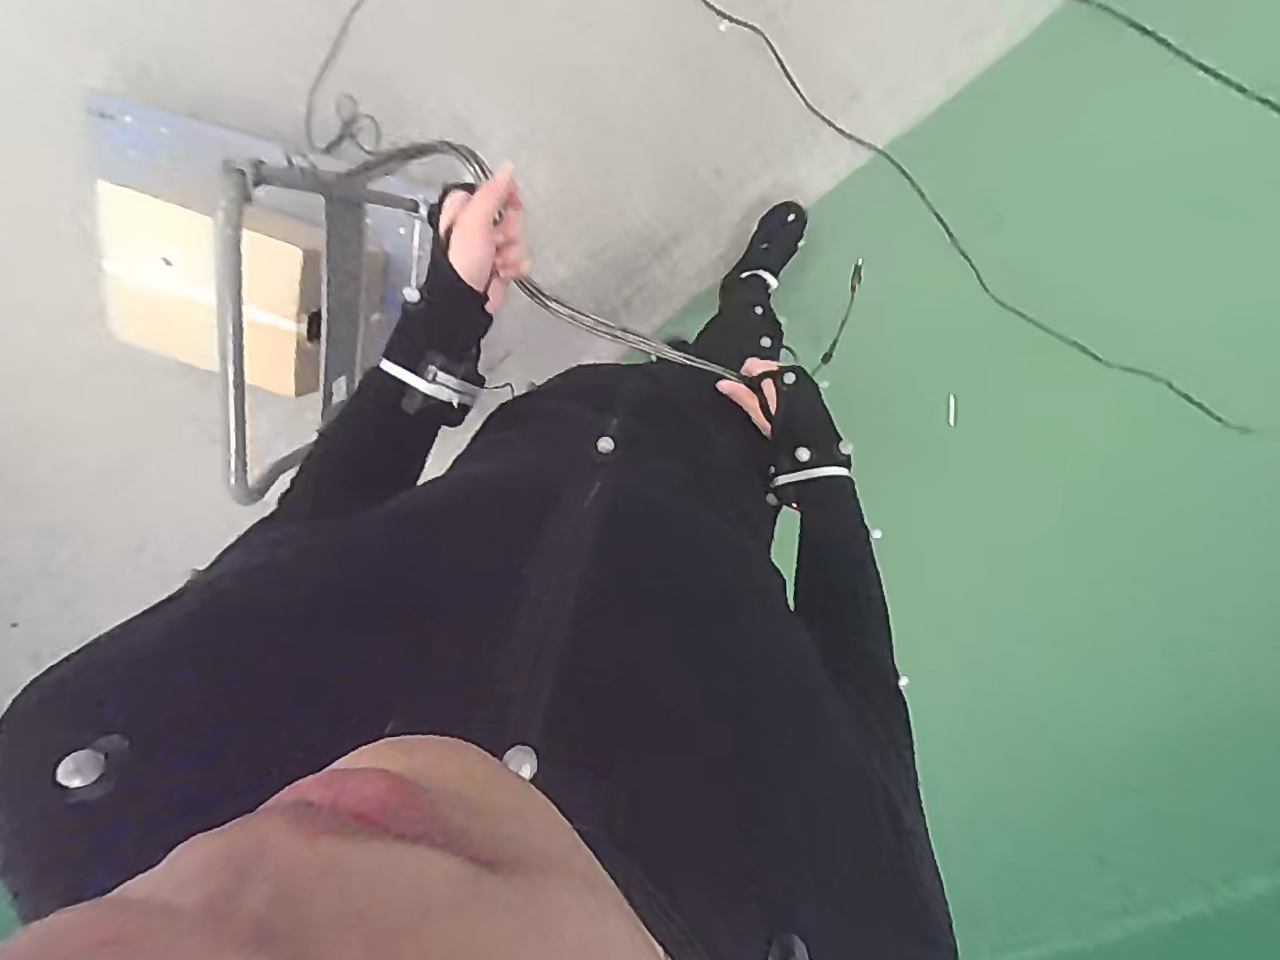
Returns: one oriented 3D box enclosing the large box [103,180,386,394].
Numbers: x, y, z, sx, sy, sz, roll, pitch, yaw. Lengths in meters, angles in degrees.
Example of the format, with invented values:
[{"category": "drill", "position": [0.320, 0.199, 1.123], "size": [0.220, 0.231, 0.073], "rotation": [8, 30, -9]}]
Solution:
[{"category": "large box", "position": [-0.847, -0.430, 1.212], "size": [0.408, 0.320, 0.320], "rotation": [19, 113, -2]}]
